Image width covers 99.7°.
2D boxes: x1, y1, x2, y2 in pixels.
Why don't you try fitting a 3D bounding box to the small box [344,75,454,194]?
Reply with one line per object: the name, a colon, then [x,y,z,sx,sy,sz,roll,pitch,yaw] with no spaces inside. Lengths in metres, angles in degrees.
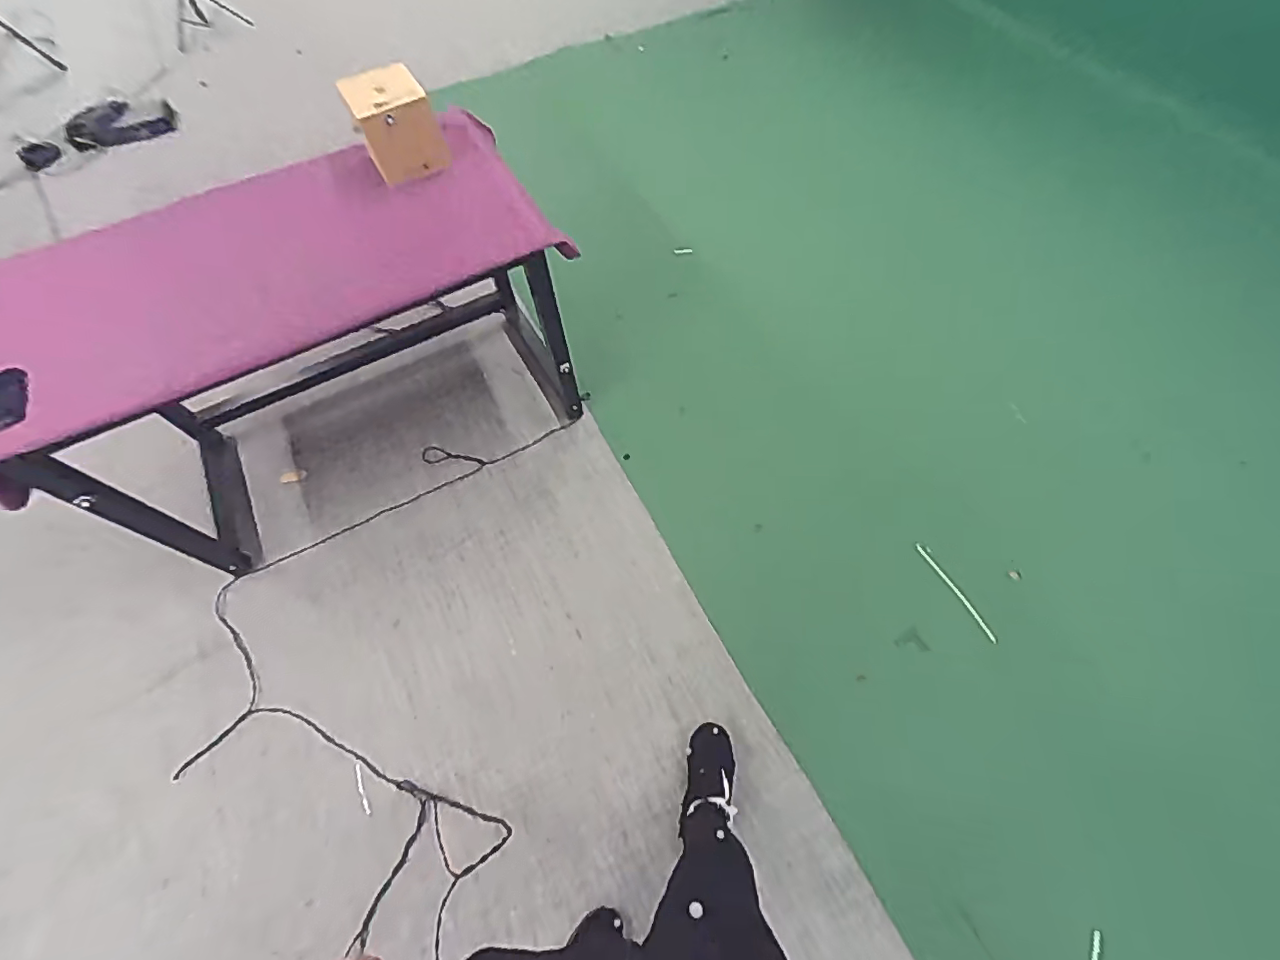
small box: [-0.582,-0.841,1.322,0.168,0.176,0.179,-28,64,-12]
